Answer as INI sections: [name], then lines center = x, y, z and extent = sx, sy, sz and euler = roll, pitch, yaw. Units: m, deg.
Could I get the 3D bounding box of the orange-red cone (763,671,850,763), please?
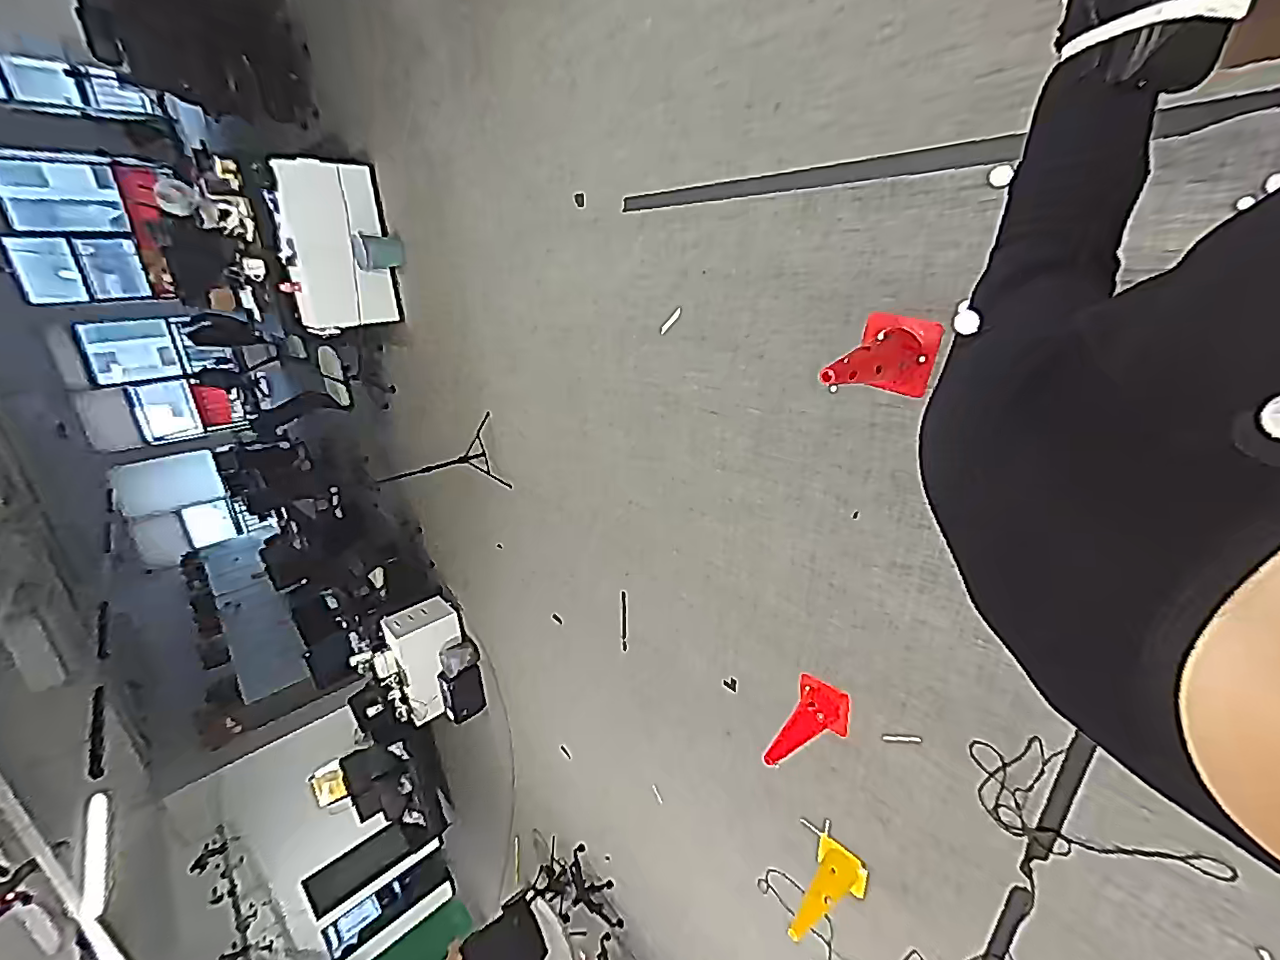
[orange-red cone]
center = 0.558, 0.879, 1.907
extent = 0.198, 0.360, 0.199
euler = 20, 122, 46

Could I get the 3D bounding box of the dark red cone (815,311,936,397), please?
[dark red cone]
center = 0.549, -0.290, 1.338
extent = 0.201, 0.394, 0.202
euler = 27, 126, 39

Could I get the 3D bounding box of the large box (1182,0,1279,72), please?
[large box]
center = 0.573, -0.447, 0.247
extent = 0.408, 0.320, 0.320
euler = 18, 123, 43
